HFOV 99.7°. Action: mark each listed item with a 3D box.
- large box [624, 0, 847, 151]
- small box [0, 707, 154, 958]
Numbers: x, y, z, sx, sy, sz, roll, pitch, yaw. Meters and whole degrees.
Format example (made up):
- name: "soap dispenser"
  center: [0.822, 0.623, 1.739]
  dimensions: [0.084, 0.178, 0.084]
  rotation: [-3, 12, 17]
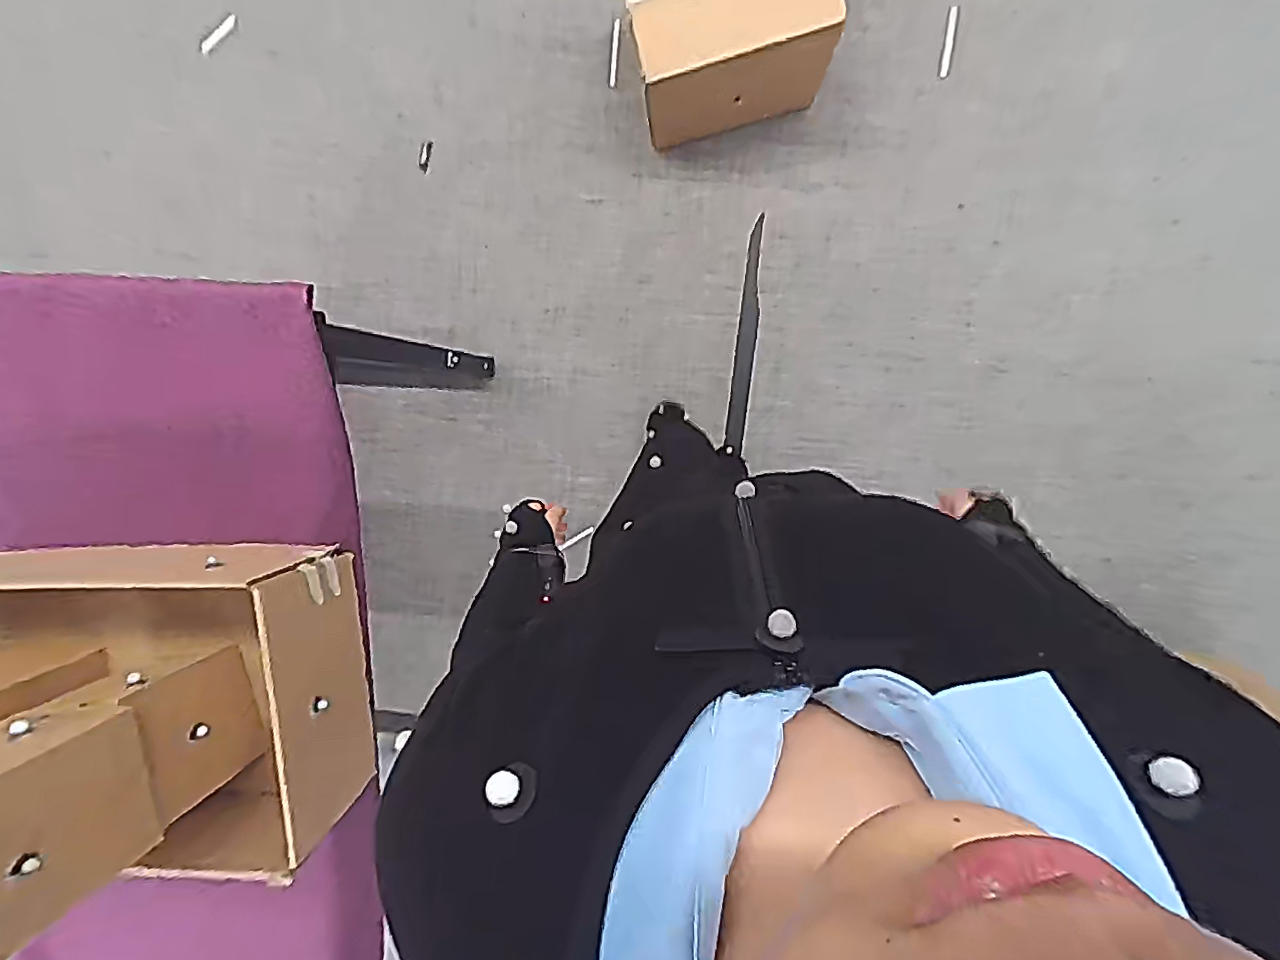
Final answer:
- name: "large box"
  center: [0.188, -1.001, 1.186]
  dimensions: [0.408, 0.320, 0.320]
  rotation: [-13, 96, 8]
- name: "small box"
  center: [-0.679, 0.371, 0.580]
  dimensions: [0.168, 0.176, 0.179]
  rotation: [-6, 96, 9]
